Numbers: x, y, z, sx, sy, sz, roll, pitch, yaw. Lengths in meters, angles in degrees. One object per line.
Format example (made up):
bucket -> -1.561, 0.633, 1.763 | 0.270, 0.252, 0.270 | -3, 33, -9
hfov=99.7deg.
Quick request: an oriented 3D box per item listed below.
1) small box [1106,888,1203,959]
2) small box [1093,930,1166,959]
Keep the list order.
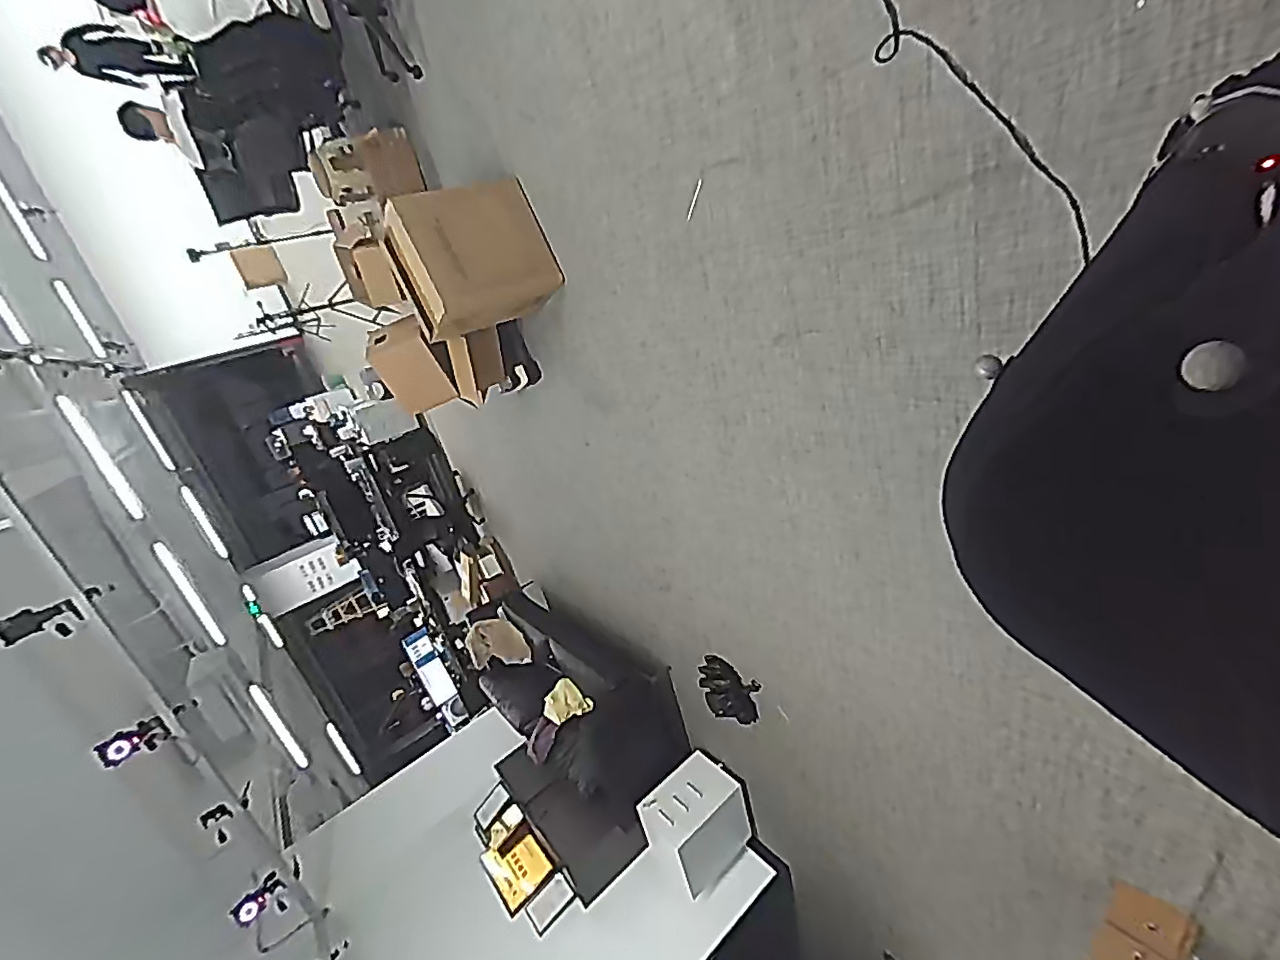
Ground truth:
small box -> 1.493, 1.342, 1.574 | 0.179, 0.176, 0.168 | 12, 124, 51
small box -> 1.366, 1.399, 1.488 | 0.179, 0.176, 0.168 | 16, 127, 51
